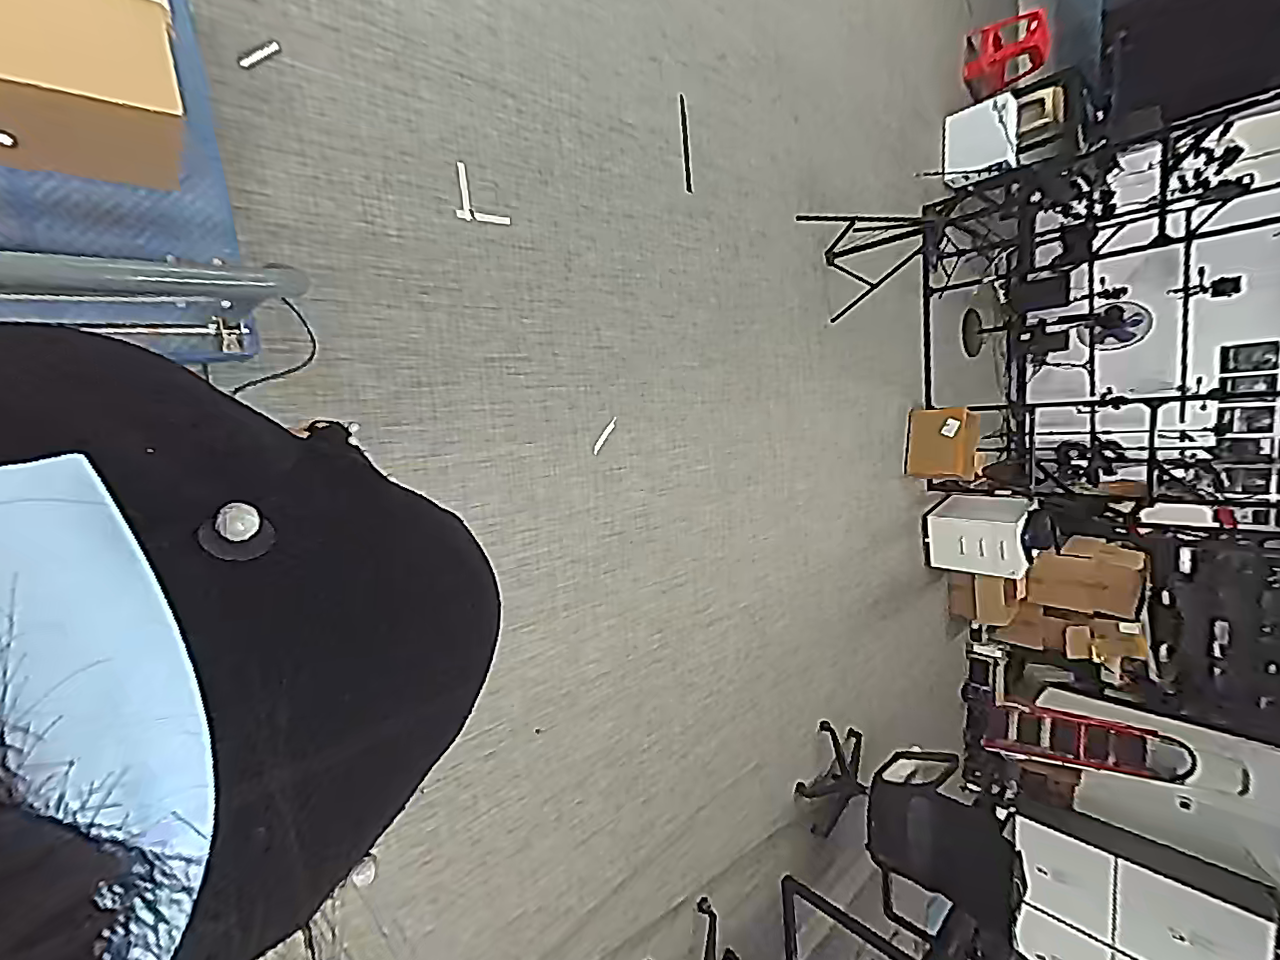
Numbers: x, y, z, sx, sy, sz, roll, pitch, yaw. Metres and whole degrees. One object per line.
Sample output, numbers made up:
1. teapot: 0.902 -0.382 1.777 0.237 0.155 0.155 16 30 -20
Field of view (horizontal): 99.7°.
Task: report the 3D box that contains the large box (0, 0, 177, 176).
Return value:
1. large box: -0.949 -0.673 0.761 0.408 0.320 0.320 -13 100 -40
